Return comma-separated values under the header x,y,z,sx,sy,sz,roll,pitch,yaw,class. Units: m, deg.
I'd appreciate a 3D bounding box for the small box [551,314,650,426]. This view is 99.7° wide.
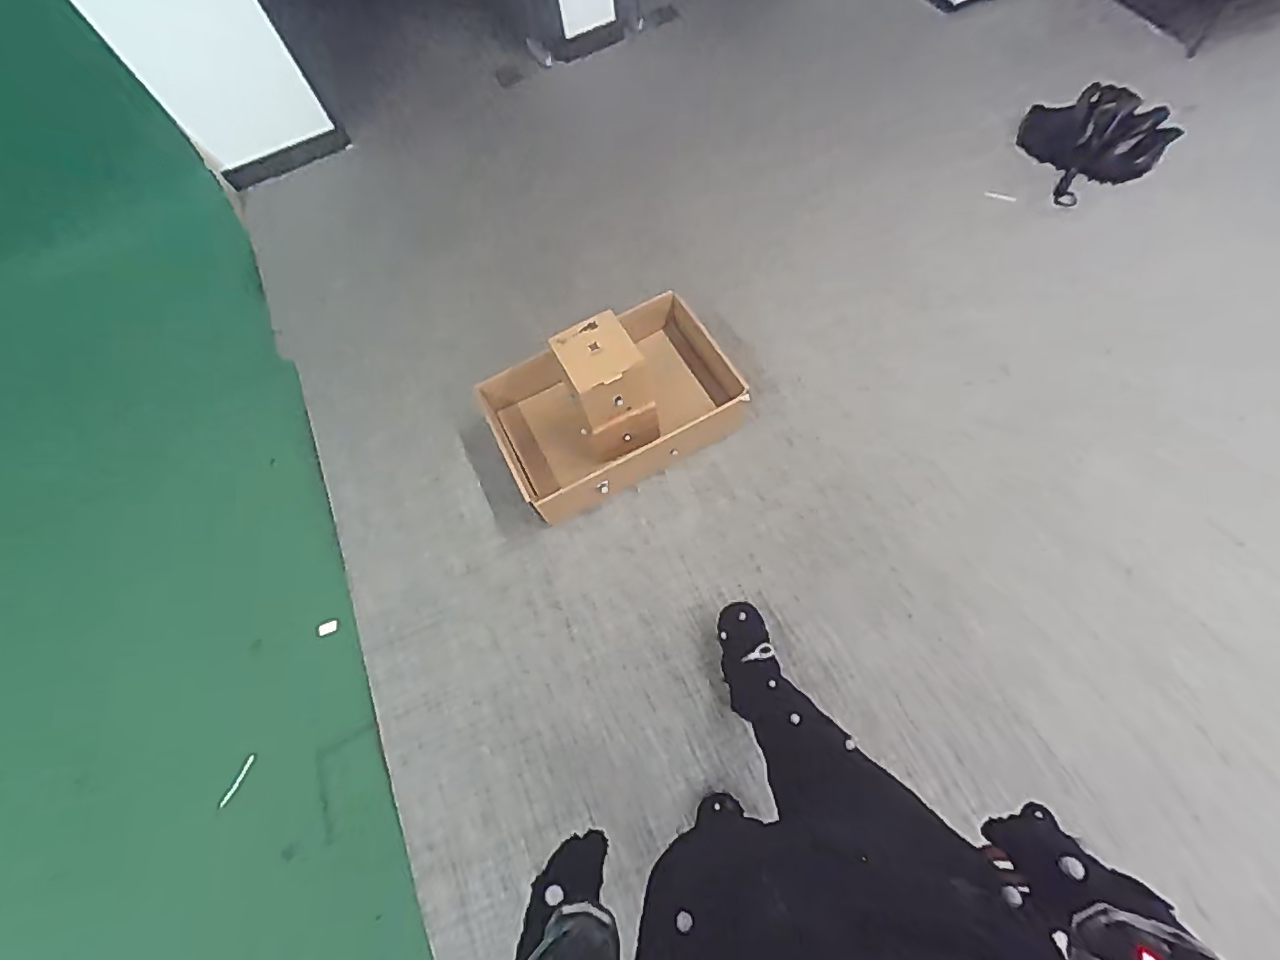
x,y,z,sx,sy,sz,roll,pitch,yaw,class
-0.086,-0.249,1.283,0.168,0.176,0.179,-28,67,-6,small box

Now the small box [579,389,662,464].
x,y,z,sx,sy,sz,roll,pitch,yaw,class
-0.055,-0.173,1.425,0.179,0.176,0.168,-28,66,-7,small box
